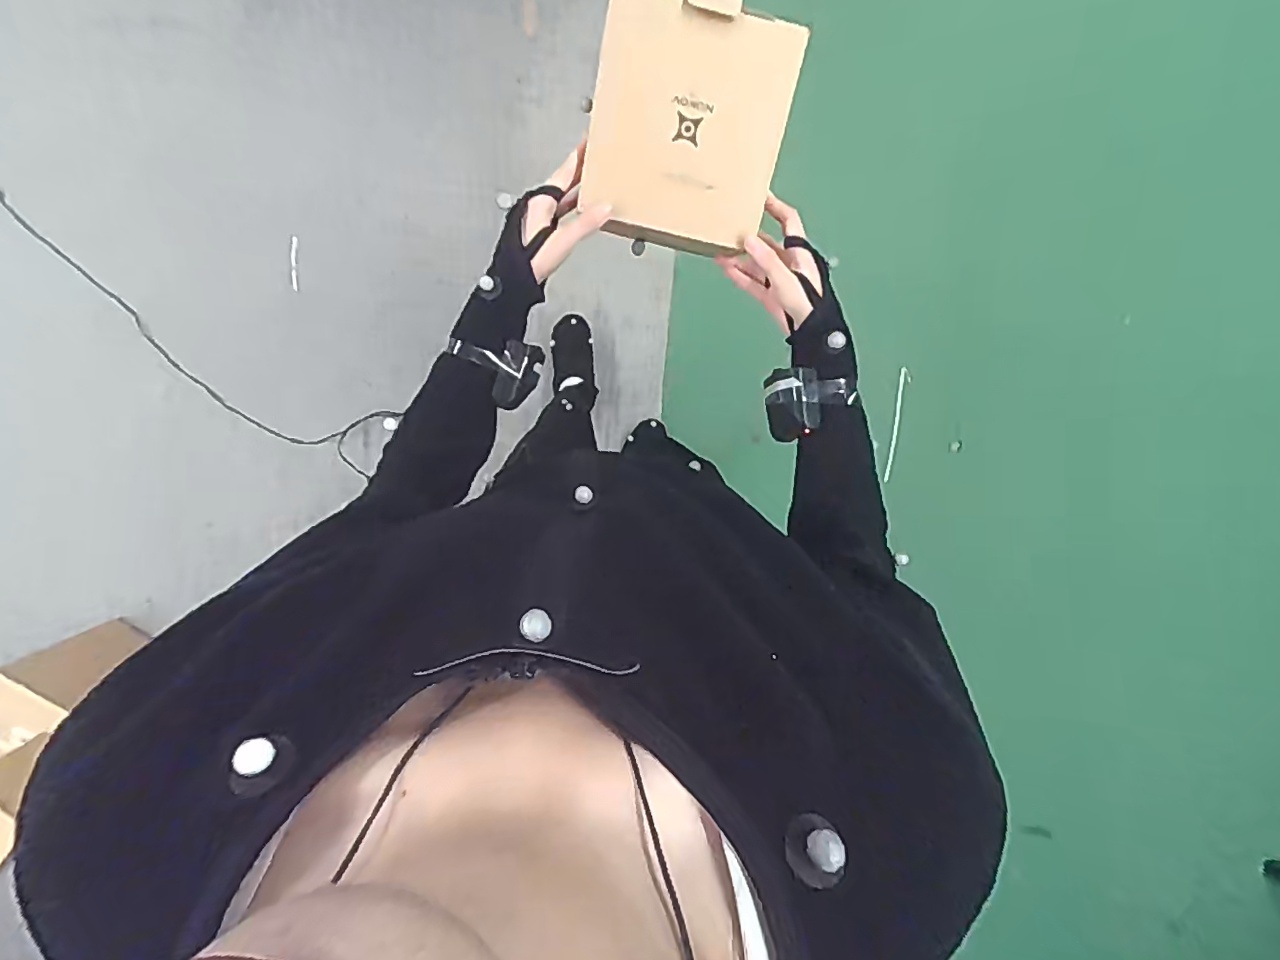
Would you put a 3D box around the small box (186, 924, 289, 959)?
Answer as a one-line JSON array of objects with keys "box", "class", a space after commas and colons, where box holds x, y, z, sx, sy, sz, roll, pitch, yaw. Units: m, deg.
[{"box": [-0.754, 0.951, 0.956, 0.179, 0.176, 0.168, -24, 98, 1], "class": "small box"}]

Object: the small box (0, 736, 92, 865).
[{"box": [-1.382, 0.711, 1.185, 0.168, 0.176, 0.179, 39, 96, -5], "class": "small box"}]

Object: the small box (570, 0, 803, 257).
[{"box": [0.031, -0.330, 0.528, 0.168, 0.176, 0.179, 11, 109, -7], "class": "small box"}]
